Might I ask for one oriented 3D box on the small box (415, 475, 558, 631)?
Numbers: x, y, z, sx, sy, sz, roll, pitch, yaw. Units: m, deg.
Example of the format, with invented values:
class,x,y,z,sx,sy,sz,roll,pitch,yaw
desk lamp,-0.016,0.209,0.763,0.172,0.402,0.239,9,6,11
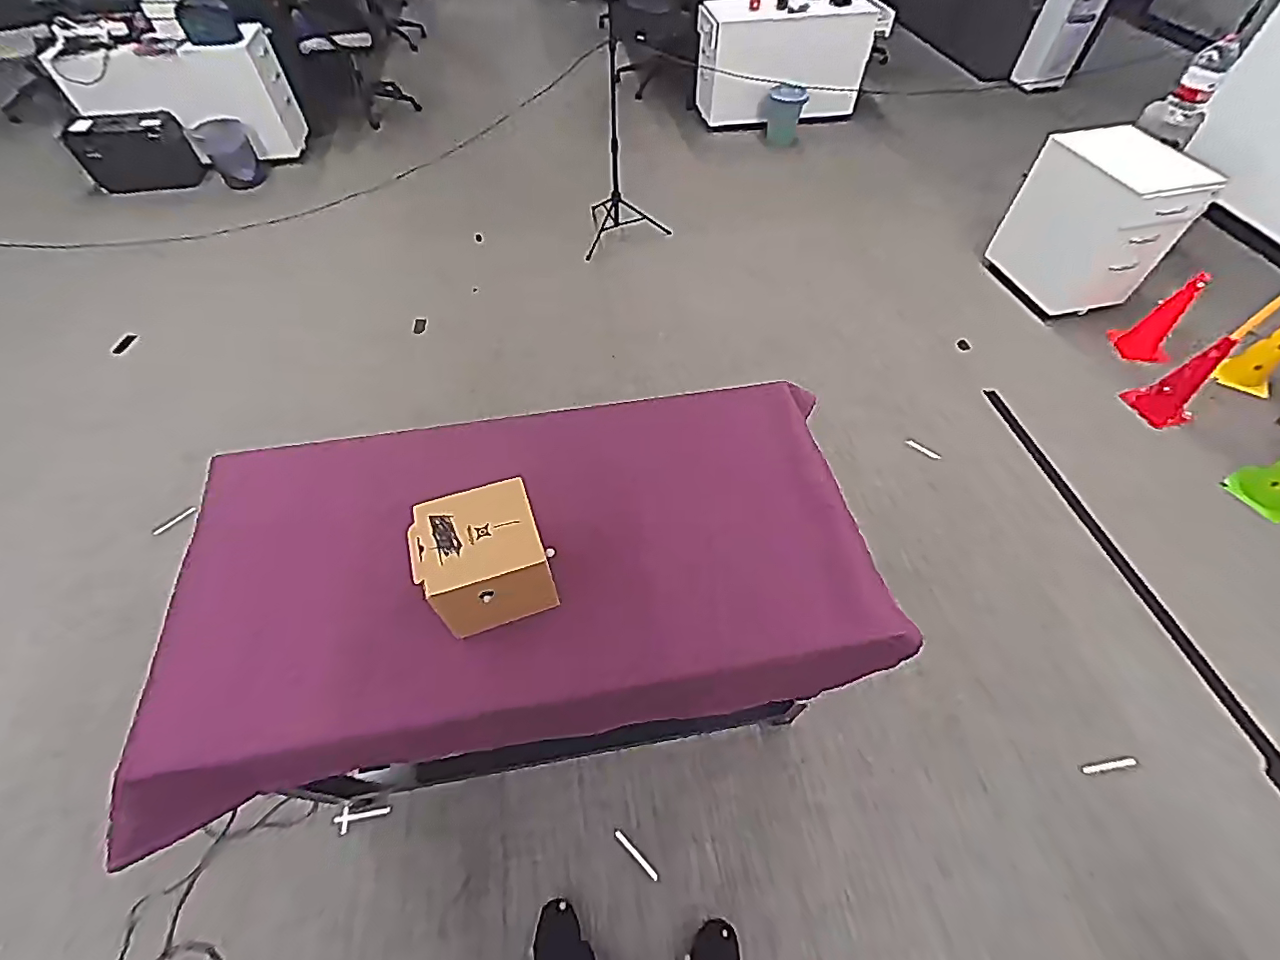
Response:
class,x,y,z,sx,sy,sz,roll,pitch,yaw
small box,-0.244,0.123,0.882,0.179,0.176,0.168,-16,56,-12
